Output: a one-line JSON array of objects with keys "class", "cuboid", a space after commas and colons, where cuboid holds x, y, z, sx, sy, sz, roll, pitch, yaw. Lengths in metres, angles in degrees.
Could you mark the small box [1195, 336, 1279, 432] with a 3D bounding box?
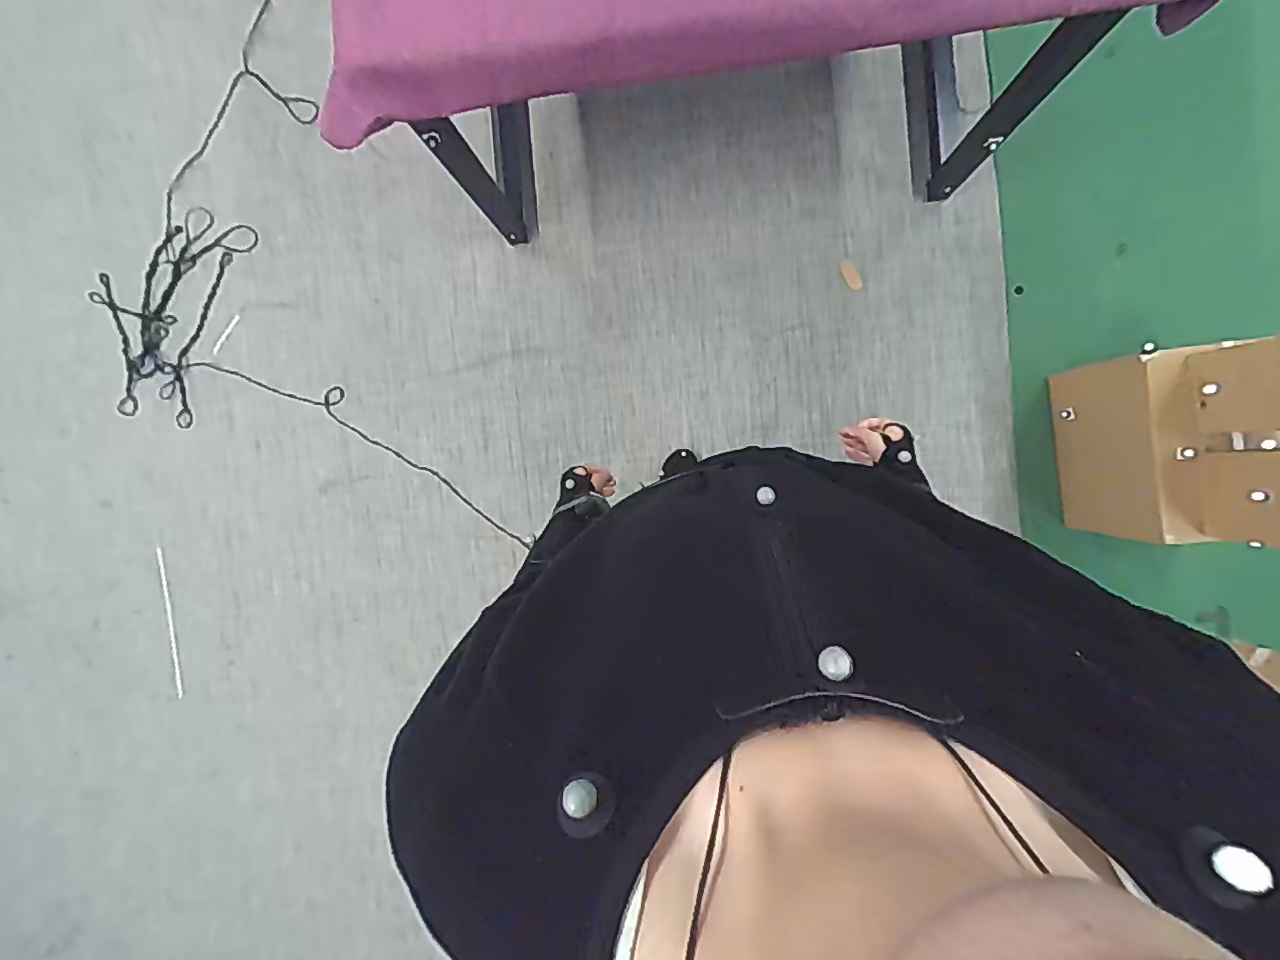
[{"class": "small box", "cuboid": [1.198, -0.184, 0.995, 0.179, 0.176, 0.168, -9, 91, 6]}]
